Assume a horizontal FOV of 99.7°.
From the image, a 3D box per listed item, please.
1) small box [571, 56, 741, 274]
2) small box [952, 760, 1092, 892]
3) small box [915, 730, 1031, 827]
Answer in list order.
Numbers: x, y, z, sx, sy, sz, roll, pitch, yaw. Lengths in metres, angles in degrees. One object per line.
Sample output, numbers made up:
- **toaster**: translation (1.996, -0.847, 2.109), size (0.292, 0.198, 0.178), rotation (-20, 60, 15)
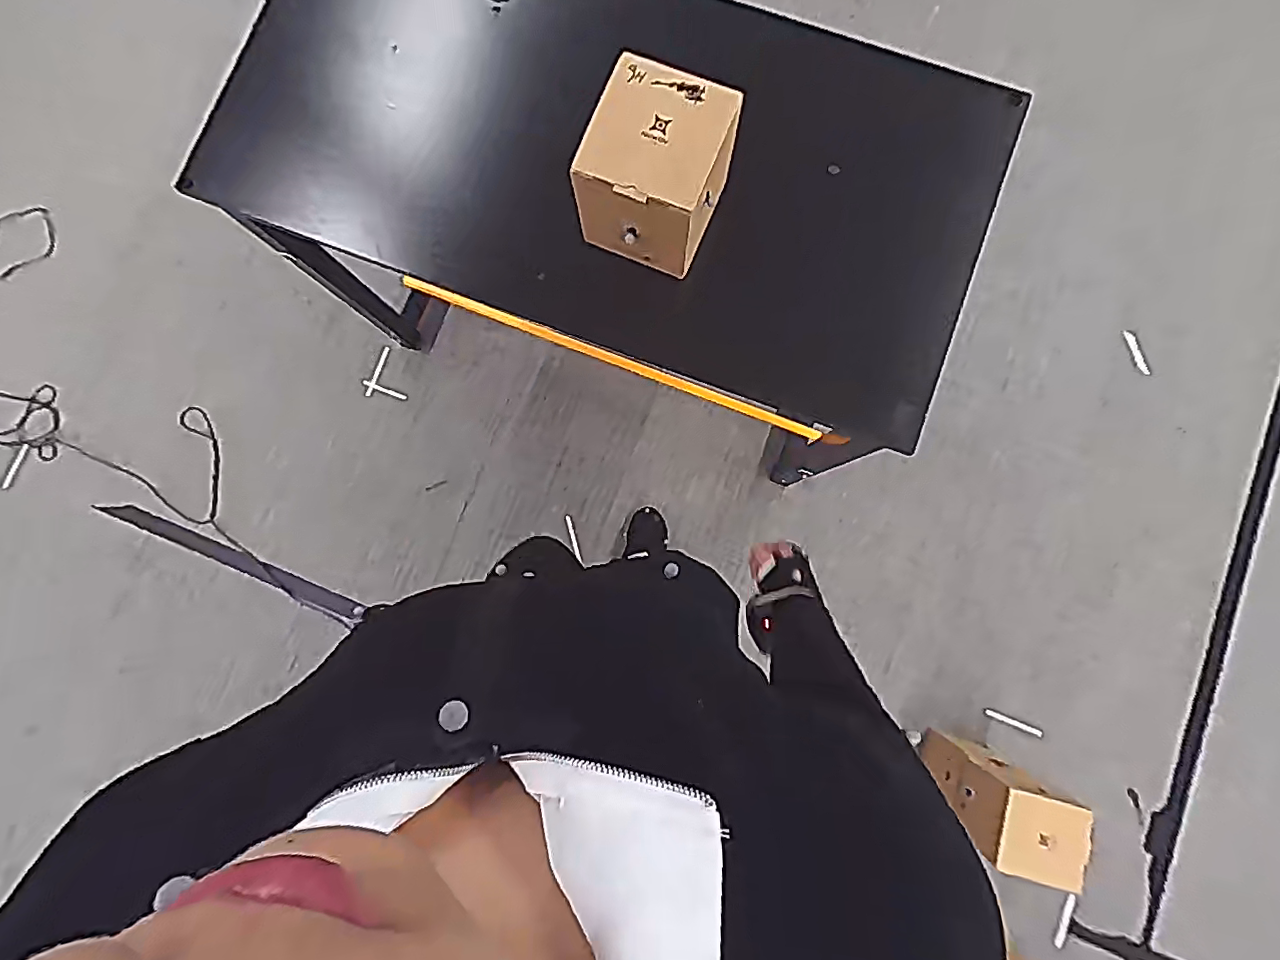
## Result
- **small box**: translation (0.023, -0.420, 0.751), size (0.168, 0.176, 0.179), rotation (22, 85, 4)
- **small box**: translation (0.823, 0.740, 1.179), size (0.179, 0.176, 0.168), rotation (14, 83, 4)
- **small box**: translation (0.816, 0.753, 1.342), size (0.168, 0.176, 0.179), rotation (18, 85, 3)
